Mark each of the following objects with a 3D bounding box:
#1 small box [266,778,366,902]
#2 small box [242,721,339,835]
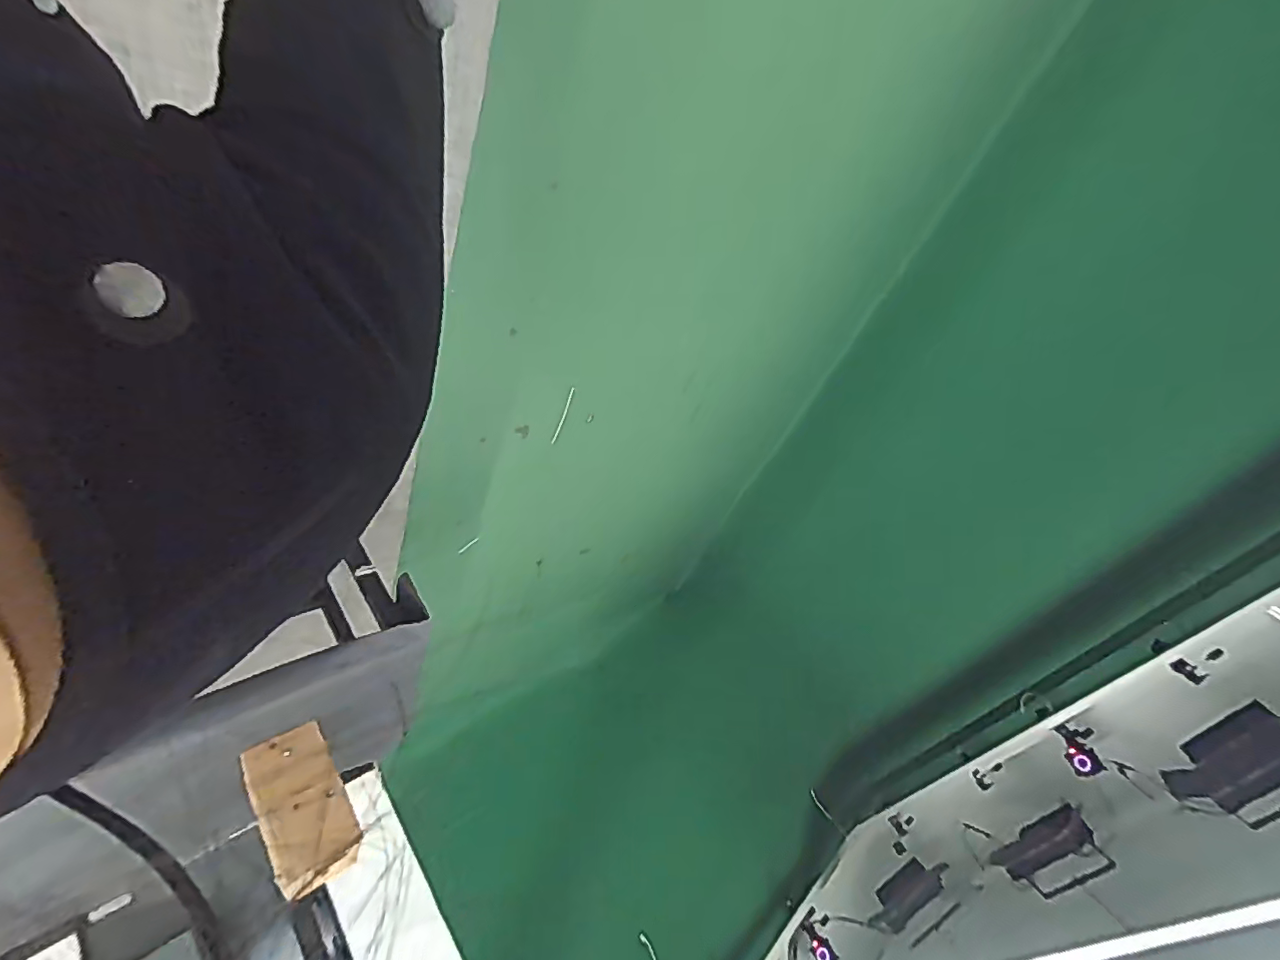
[{"bbox_3d":[-0.794,0.866,1.318,0.168,0.176,0.179,-15,144,-45],"label":"small box"},{"bbox_3d":[-0.895,0.755,1.384,0.168,0.176,0.179,-17,145,-44],"label":"small box"}]
